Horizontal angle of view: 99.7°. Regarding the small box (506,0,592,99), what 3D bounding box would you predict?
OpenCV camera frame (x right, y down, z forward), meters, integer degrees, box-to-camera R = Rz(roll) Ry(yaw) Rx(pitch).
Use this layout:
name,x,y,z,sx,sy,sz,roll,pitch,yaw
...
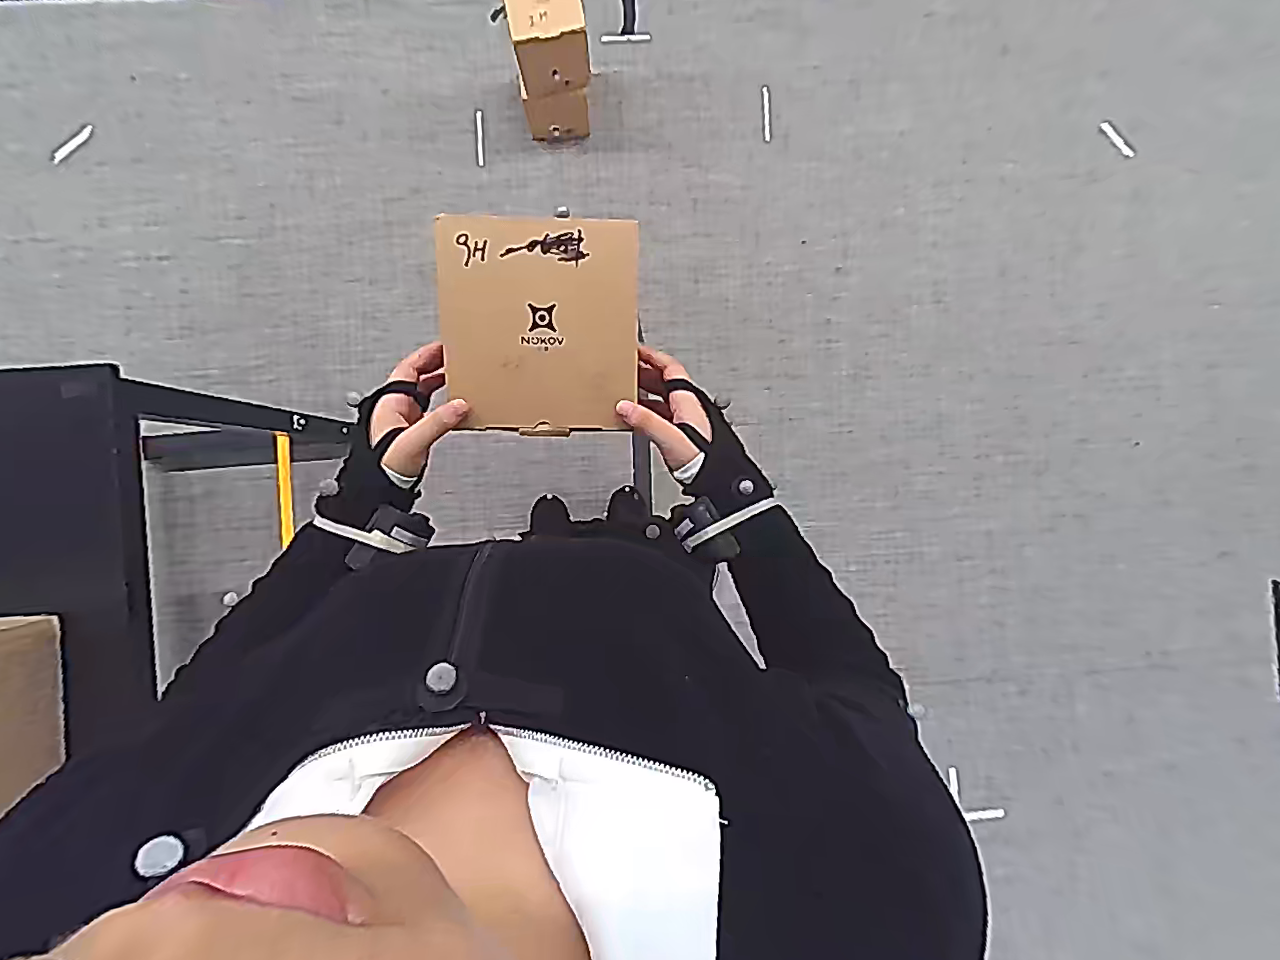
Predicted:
name,x,y,z,sx,sy,sz,roll,pitch,yaw
small box,-0.211,-1.038,1.254,0.168,0.176,0.179,-11,90,0

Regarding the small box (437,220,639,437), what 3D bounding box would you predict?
name,x,y,z,sx,sy,sz,roll,pitch,yaw
small box,-0.087,-0.143,0.533,0.168,0.176,0.179,0,104,-4

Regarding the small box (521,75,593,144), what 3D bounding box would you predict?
name,x,y,z,sx,sy,sz,roll,pitch,yaw
small box,-0.217,-1.024,1.419,0.168,0.176,0.179,-6,91,-1
